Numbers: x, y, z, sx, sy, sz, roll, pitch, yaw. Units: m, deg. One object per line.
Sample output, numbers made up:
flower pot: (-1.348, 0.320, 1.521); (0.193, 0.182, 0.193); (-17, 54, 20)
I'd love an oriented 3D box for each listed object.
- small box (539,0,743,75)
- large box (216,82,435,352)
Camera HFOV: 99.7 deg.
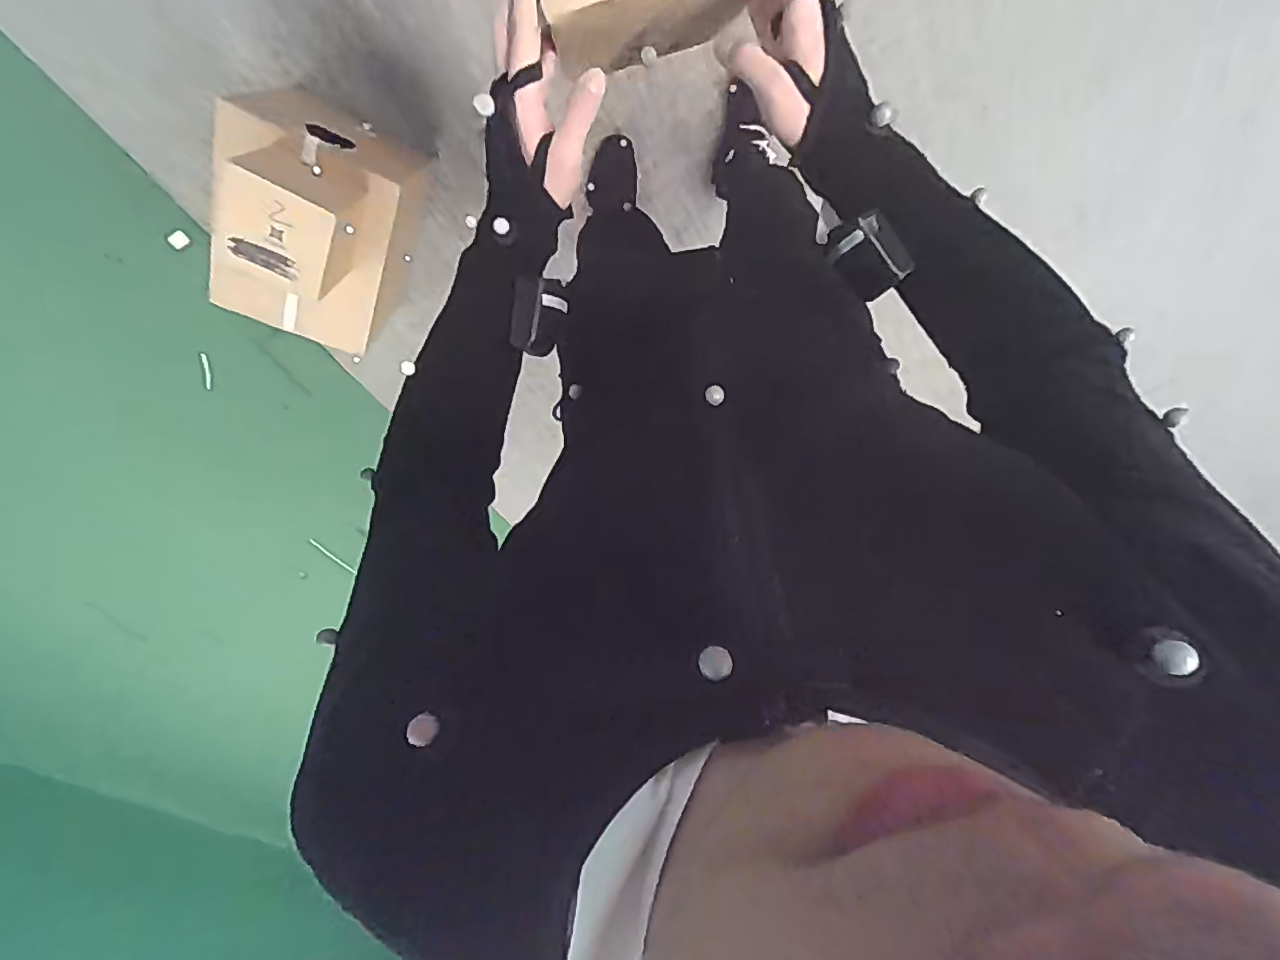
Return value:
small box: (-0.012, -0.444, 0.401); (0.168, 0.176, 0.179); (-14, 114, 5)
large box: (-0.683, -0.575, 1.198); (0.320, 0.320, 0.408); (20, 126, -18)
